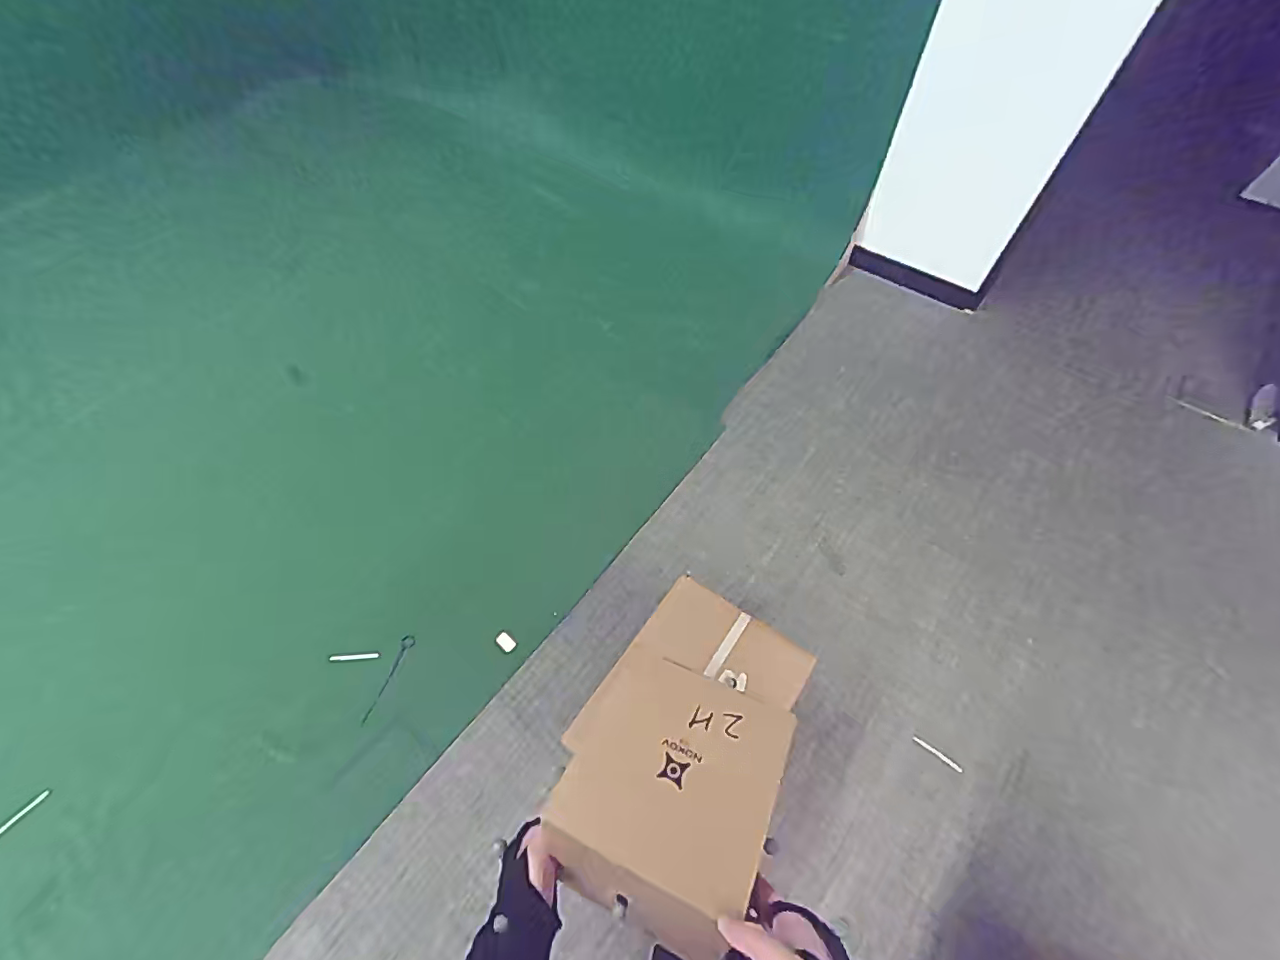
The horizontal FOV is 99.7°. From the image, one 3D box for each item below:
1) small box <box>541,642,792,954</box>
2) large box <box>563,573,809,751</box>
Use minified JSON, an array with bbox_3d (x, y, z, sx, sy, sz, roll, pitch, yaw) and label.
[{"bbox_3d":[0.027,0.300,0.517,0.168,0.176,0.179,21,43,18],"label":"small box"},{"bbox_3d":[0.096,0.486,1.135,0.320,0.320,0.408,32,64,19],"label":"large box"}]
